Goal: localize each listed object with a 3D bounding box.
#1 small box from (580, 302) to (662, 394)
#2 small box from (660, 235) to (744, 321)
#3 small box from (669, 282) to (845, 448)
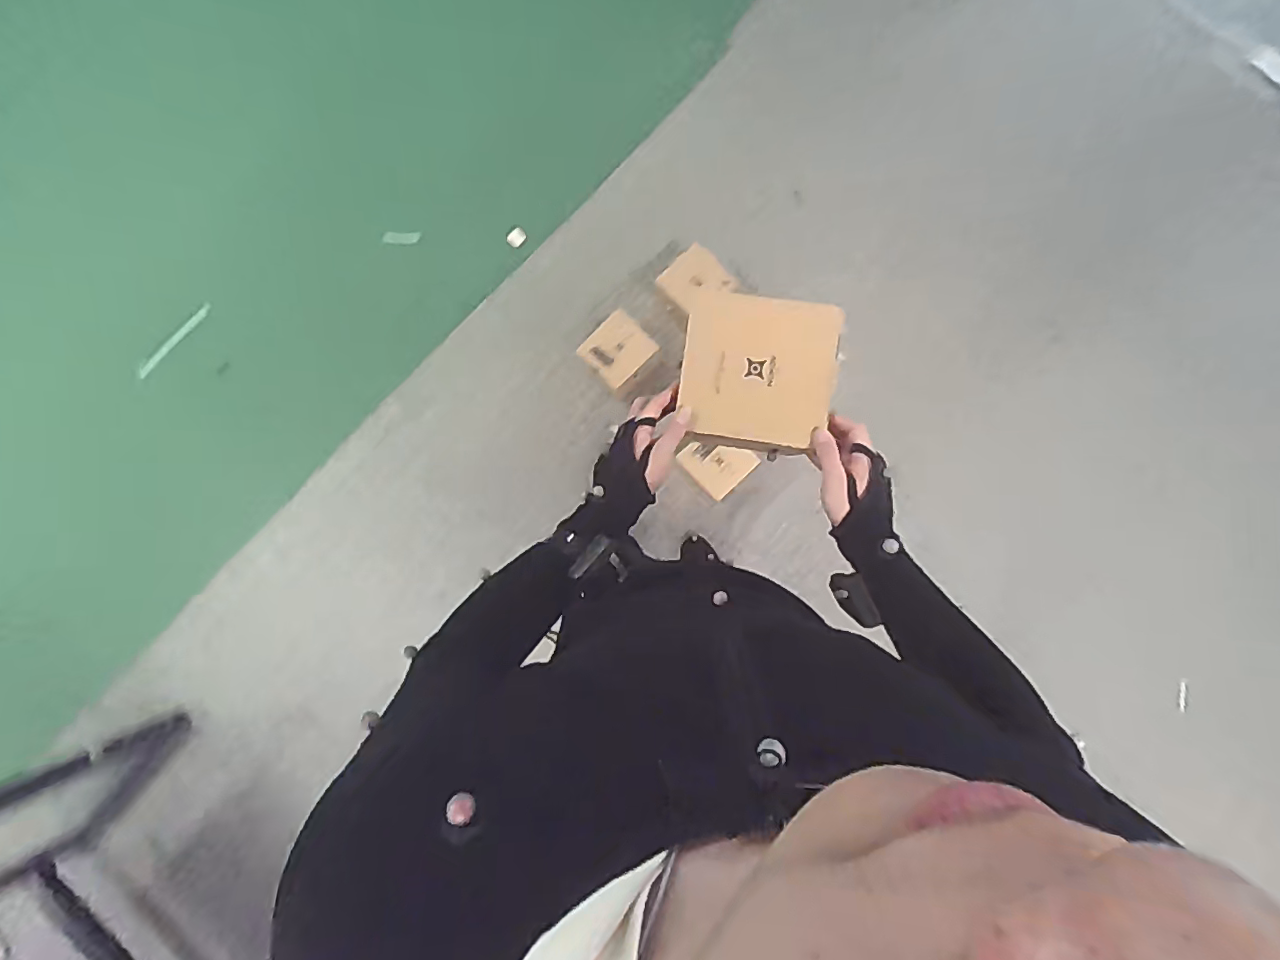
[{"bbox_3d":[-0.048,-0.376,1.576,0.179,0.176,0.168,-43,86,0],"label":"small box"},{"bbox_3d":[0.176,-0.561,1.573,0.168,0.176,0.179,-42,85,0],"label":"small box"},{"bbox_3d":[0.135,-0.132,0.683,0.179,0.176,0.168,8,91,2],"label":"small box"}]
